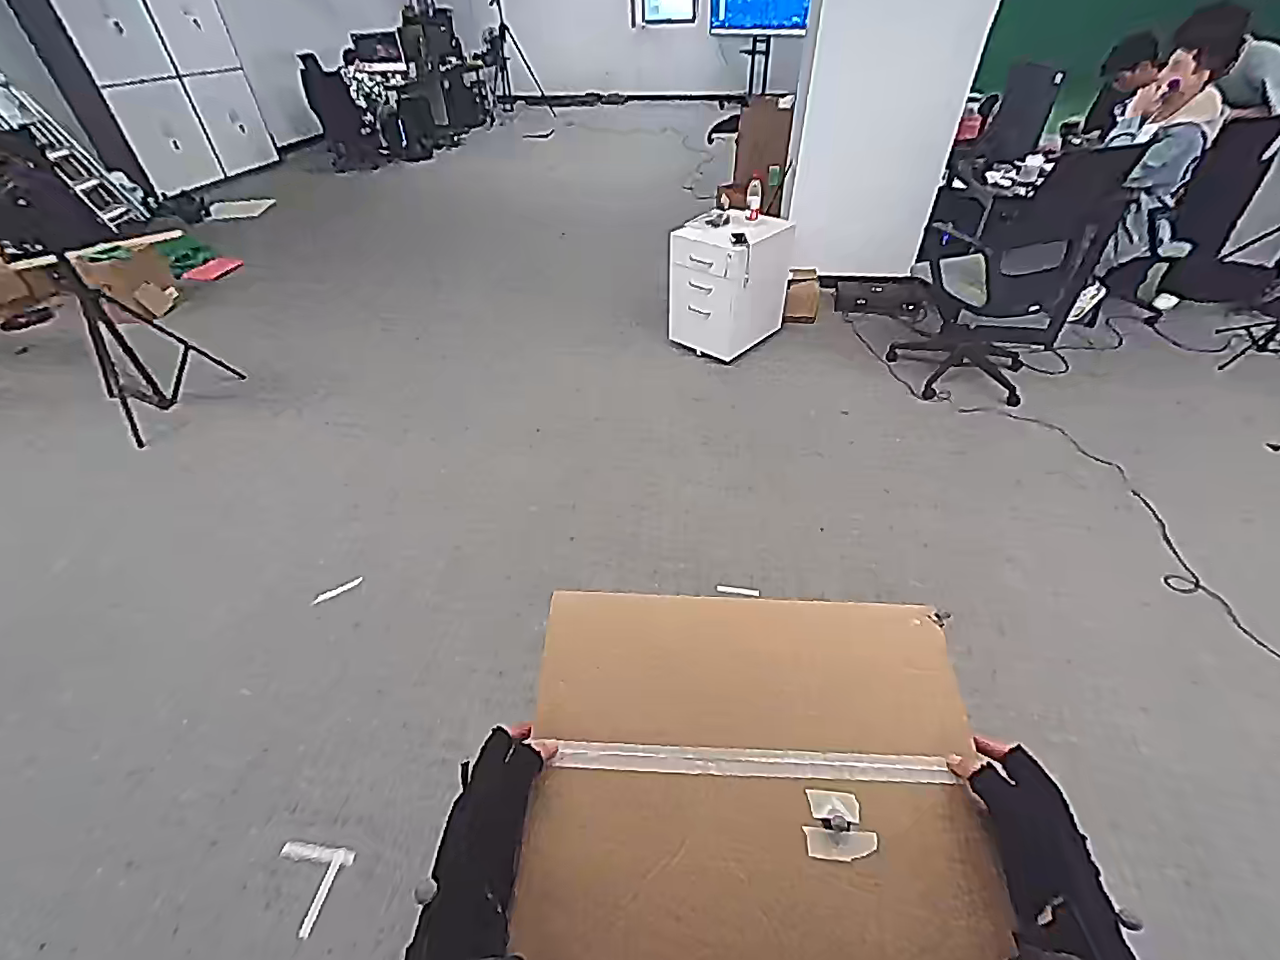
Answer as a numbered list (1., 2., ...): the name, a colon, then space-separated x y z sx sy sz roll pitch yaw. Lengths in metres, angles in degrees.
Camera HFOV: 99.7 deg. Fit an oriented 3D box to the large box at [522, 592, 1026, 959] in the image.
1. large box: 0.107 0.340 0.627 0.408 0.320 0.320 2 55 2
